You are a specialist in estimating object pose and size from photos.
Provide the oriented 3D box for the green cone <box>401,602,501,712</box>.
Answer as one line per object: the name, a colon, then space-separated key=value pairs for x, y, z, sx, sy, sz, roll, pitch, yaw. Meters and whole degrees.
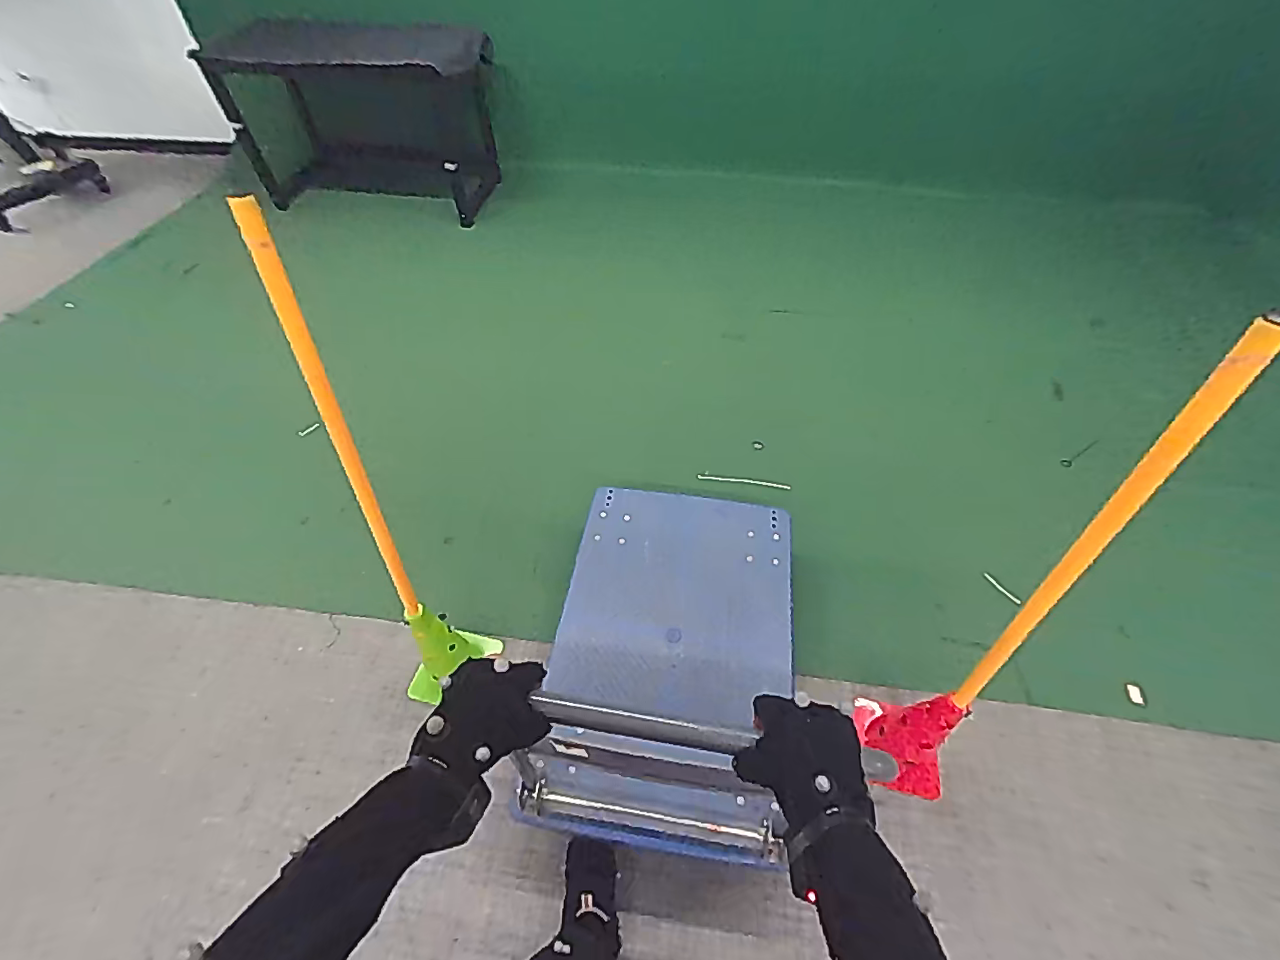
green cone: x=-0.499 y=0.399 z=1.328 sx=0.202 sy=0.368 sz=0.200 roll=9 pitch=51 yaw=9
